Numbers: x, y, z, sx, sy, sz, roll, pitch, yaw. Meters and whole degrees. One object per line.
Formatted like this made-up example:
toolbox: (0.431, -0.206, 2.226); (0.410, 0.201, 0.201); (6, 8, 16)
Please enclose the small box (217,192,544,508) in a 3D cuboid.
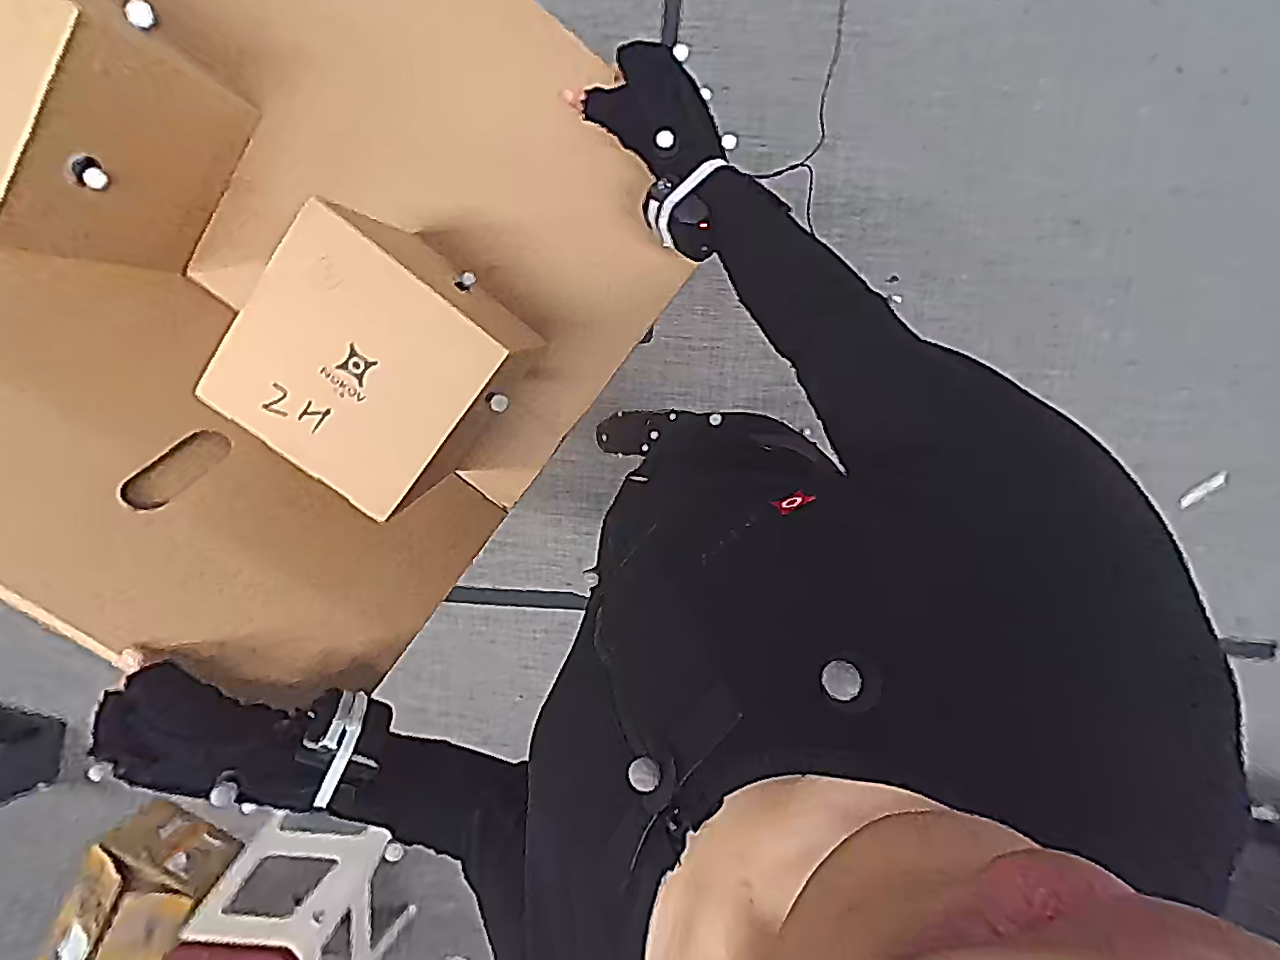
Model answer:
small box: (-0.204, -0.110, 0.482); (0.168, 0.176, 0.179); (41, 103, -9)
